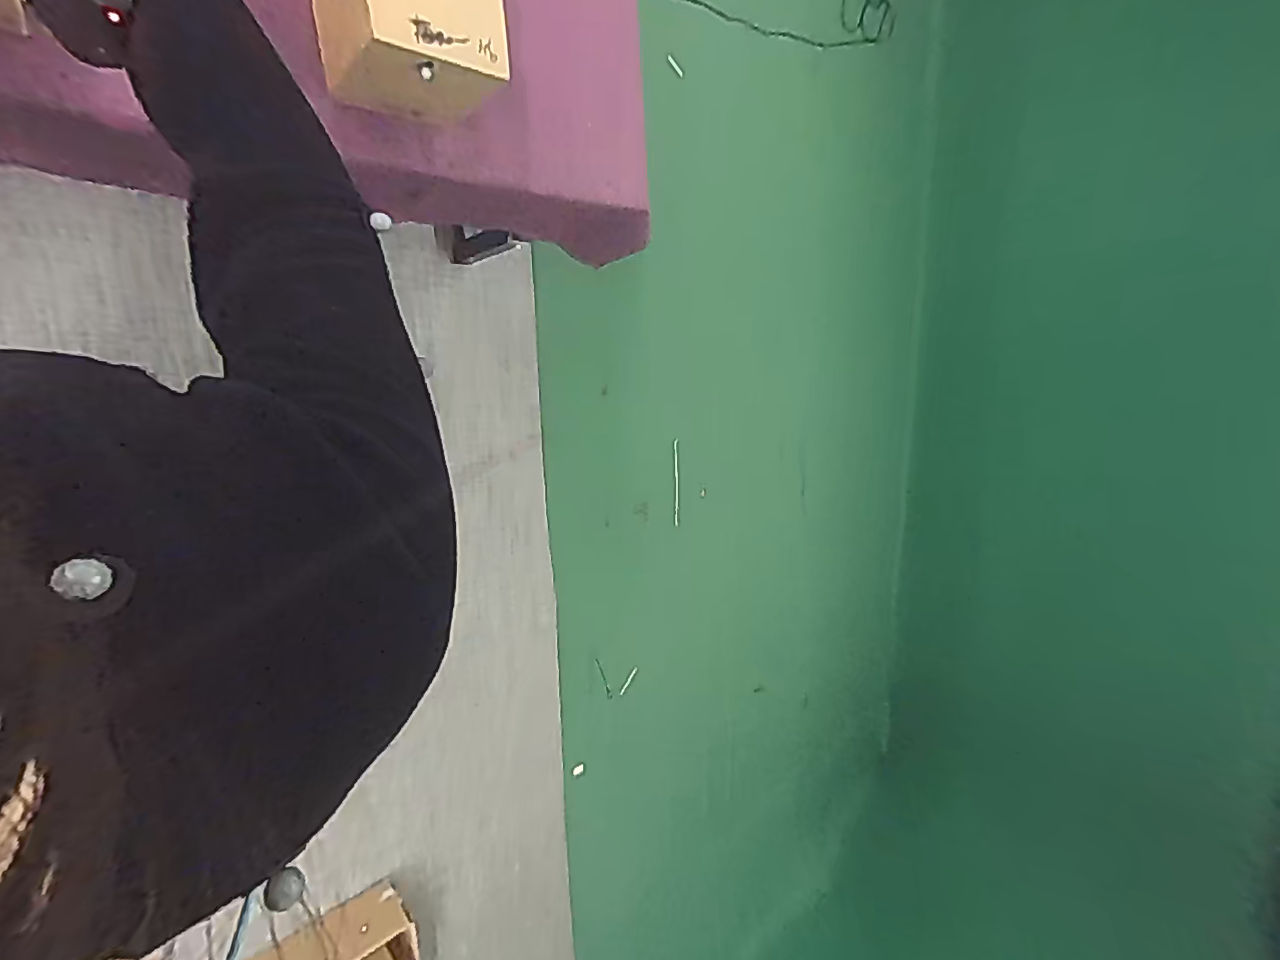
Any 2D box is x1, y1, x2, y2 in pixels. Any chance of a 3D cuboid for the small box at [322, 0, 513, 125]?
[{"bbox_3d":[-0.277,-0.572,0.655,0.168,0.176,0.179,-15,107,-40],"label":"small box"}]
